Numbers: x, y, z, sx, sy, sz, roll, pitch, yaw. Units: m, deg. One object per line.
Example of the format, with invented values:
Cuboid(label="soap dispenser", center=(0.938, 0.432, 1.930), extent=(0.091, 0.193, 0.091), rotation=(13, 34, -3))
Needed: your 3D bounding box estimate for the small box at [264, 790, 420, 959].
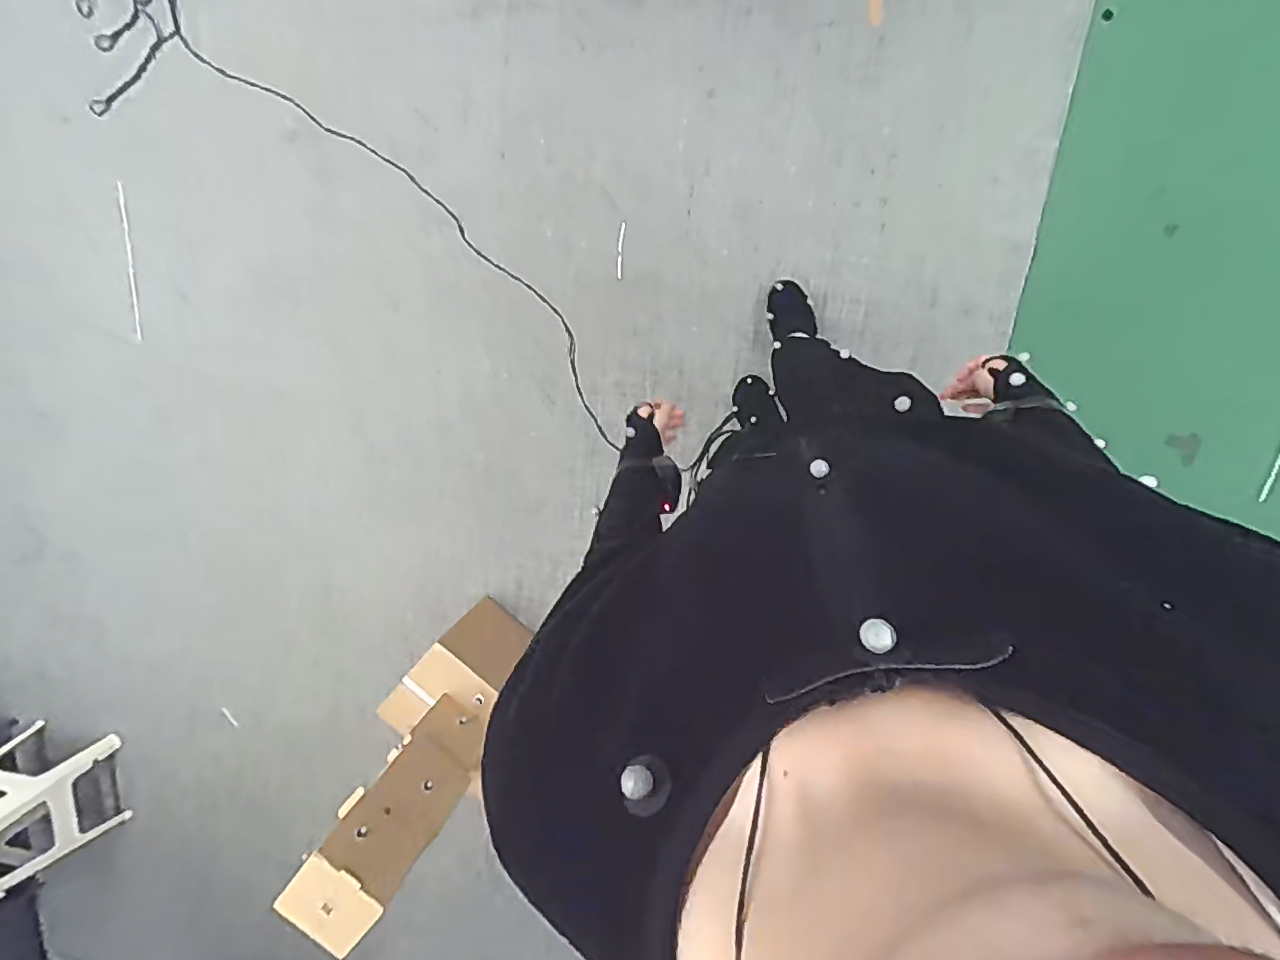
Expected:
Cuboid(label="small box", center=(-0.555, 0.745, 1.035), extent=(0.168, 0.176, 0.179), rotation=(39, 105, -1))

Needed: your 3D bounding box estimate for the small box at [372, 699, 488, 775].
Cuboid(label="small box", center=(-0.518, 0.684, 1.355), extent=(0.179, 0.176, 0.168), rotation=(37, 106, 0))

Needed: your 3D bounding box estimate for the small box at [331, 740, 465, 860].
Cuboid(label="small box", center=(-0.526, 0.712, 1.192), extent=(0.179, 0.176, 0.168), rotation=(41, 105, -3))
